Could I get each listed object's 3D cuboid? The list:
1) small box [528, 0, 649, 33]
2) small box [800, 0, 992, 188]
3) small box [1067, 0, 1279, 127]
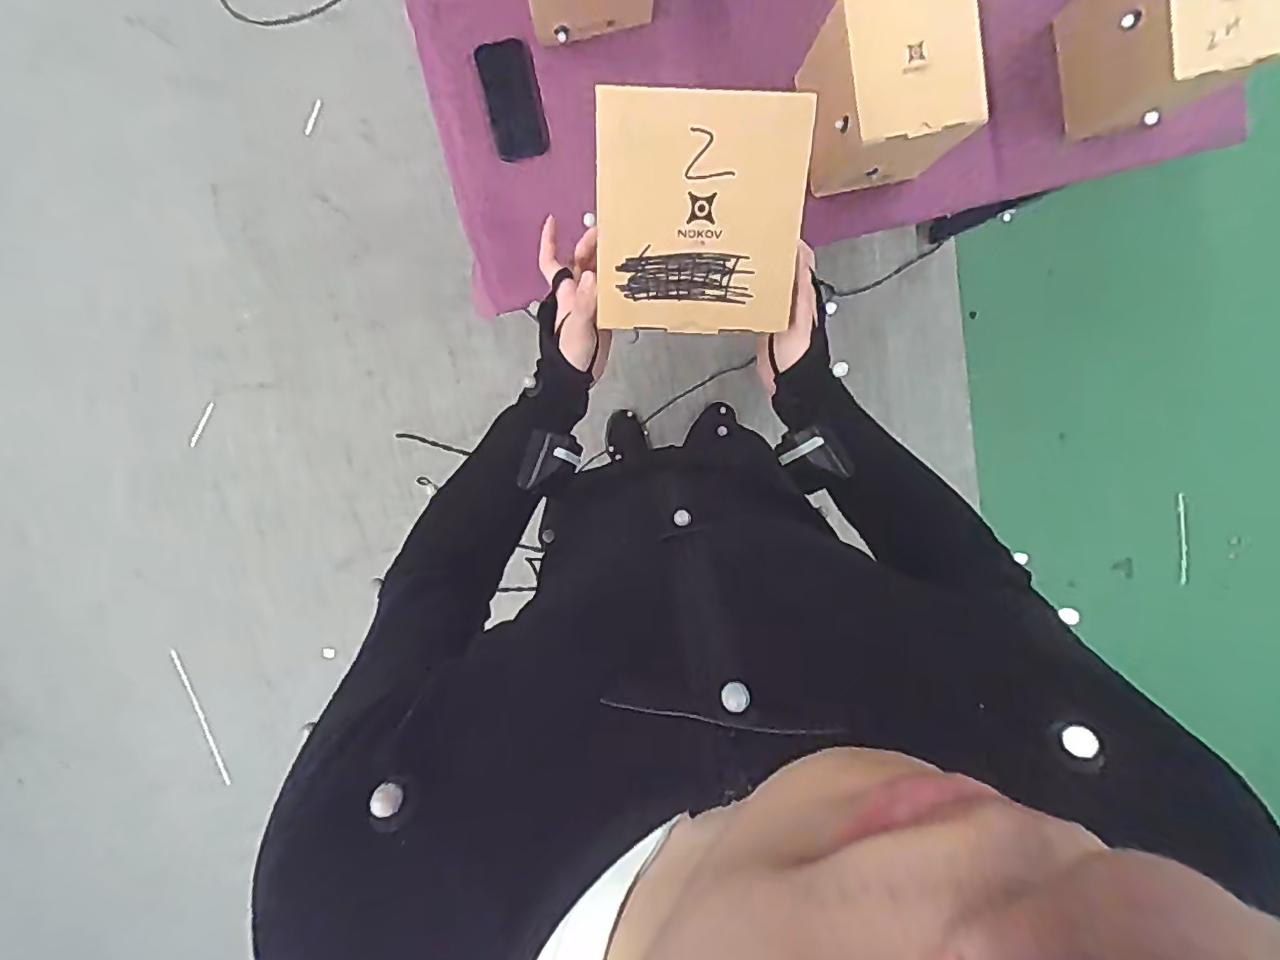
[{"bbox_3d":[-0.080,-0.708,0.676,0.168,0.176,0.179,-15,99,0],"label":"small box"},{"bbox_3d":[0.329,-0.527,0.724,0.168,0.176,0.179,-12,99,0],"label":"small box"},{"bbox_3d":[0.715,-0.618,0.721,0.168,0.176,0.179,-15,100,1],"label":"small box"}]
